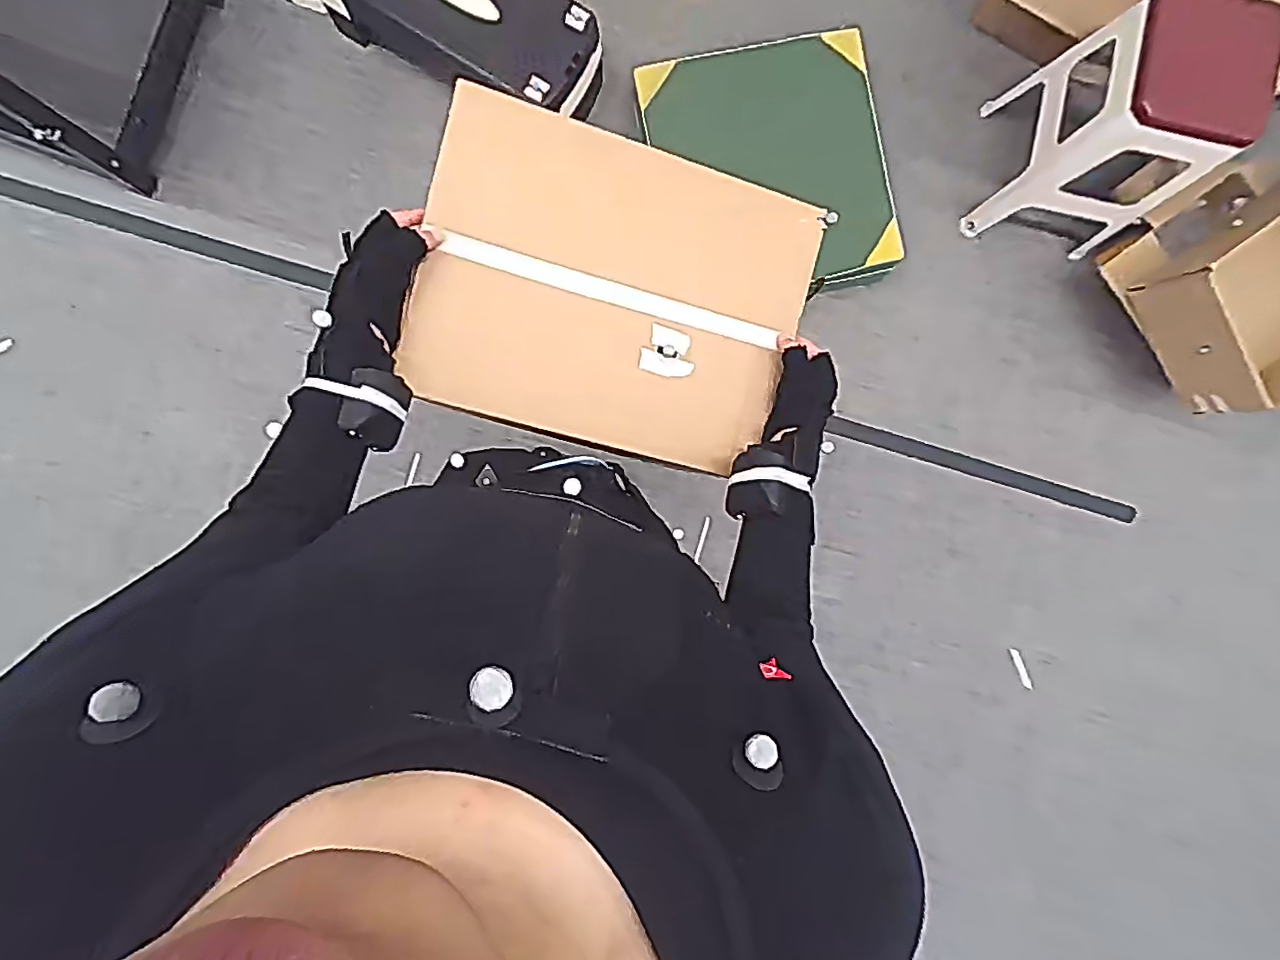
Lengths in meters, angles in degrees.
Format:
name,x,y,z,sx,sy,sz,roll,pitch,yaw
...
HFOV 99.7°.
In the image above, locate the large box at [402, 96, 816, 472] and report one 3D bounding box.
name,x,y,z,sx,sy,sz,roll,pitch,yaw
large box,-0.049,-0.210,0.731,0.408,0.320,0.320,14,92,-10
